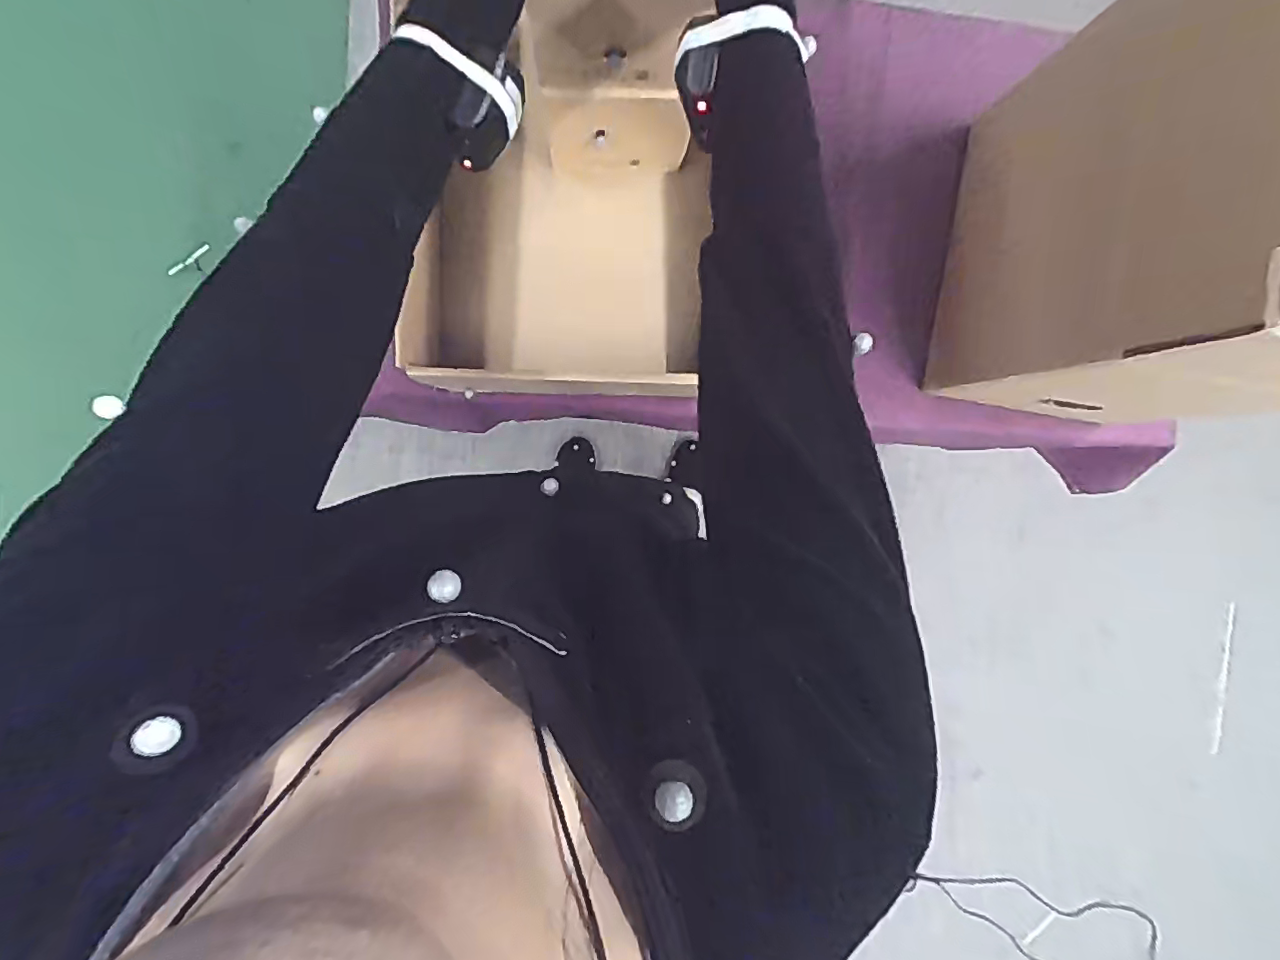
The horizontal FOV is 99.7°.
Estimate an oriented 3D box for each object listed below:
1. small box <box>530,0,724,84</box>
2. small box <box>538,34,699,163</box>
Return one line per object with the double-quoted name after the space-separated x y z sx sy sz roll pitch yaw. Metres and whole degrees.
-0.013 -0.480 0.454 0.168 0.176 0.179 -1 96 -3 "small box"
-0.025 -0.488 0.618 0.168 0.176 0.179 -2 96 -4 "small box"
